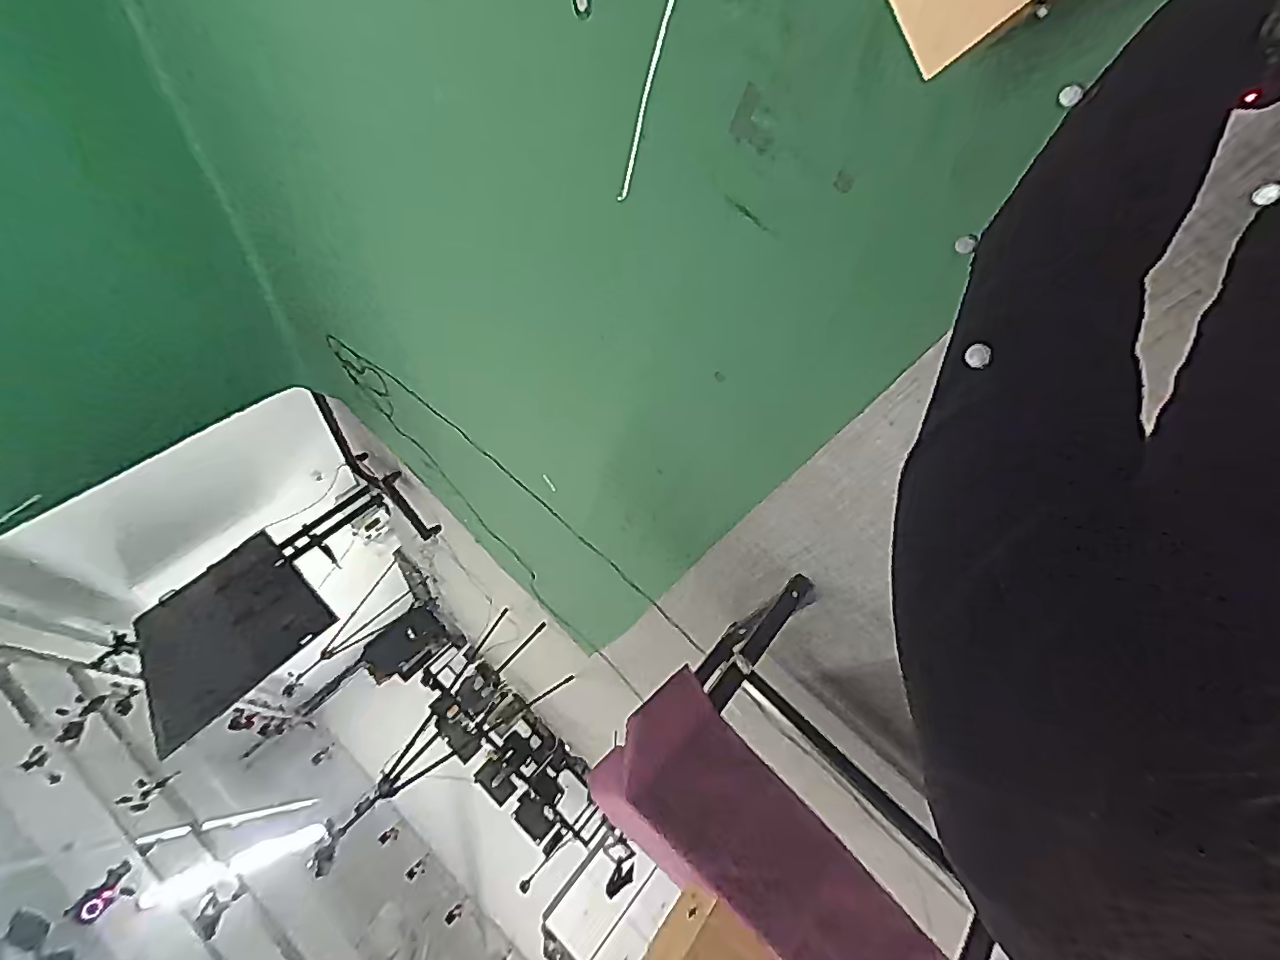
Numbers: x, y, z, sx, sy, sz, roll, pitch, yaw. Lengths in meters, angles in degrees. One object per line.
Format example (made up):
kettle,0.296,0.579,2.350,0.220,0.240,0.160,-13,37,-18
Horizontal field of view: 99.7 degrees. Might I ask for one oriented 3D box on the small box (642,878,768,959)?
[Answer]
small box,0.140,1.009,1.154,0.179,0.176,0.168,46,151,6
